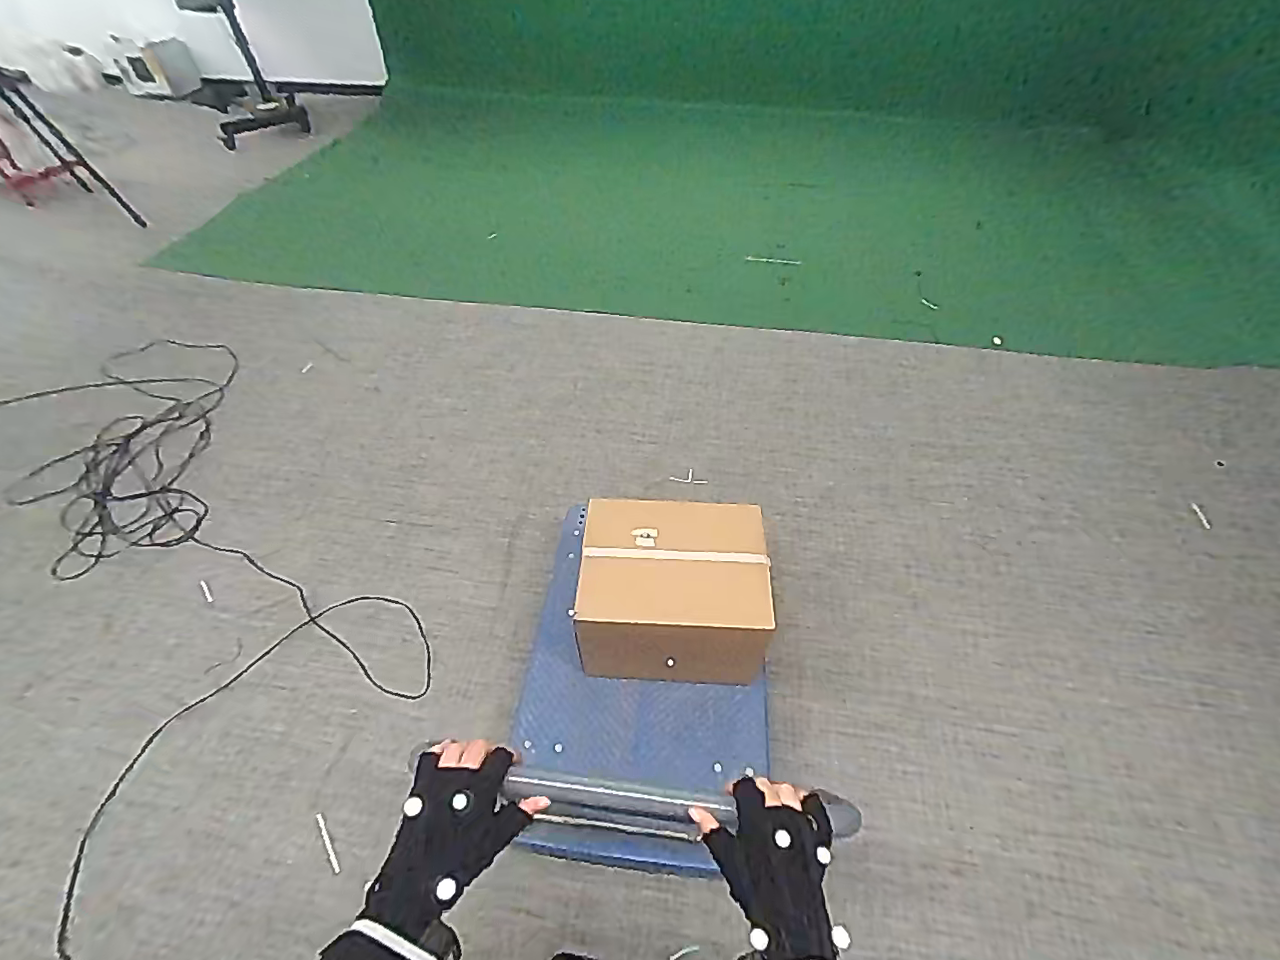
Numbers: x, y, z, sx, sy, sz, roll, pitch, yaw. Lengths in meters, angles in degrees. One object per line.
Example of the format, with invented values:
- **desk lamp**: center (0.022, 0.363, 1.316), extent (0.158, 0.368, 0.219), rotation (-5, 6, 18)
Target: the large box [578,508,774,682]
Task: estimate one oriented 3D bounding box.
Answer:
- **large box**: center (0.079, 0.280, 1.298), extent (0.408, 0.320, 0.320), rotation (1, 49, 2)
